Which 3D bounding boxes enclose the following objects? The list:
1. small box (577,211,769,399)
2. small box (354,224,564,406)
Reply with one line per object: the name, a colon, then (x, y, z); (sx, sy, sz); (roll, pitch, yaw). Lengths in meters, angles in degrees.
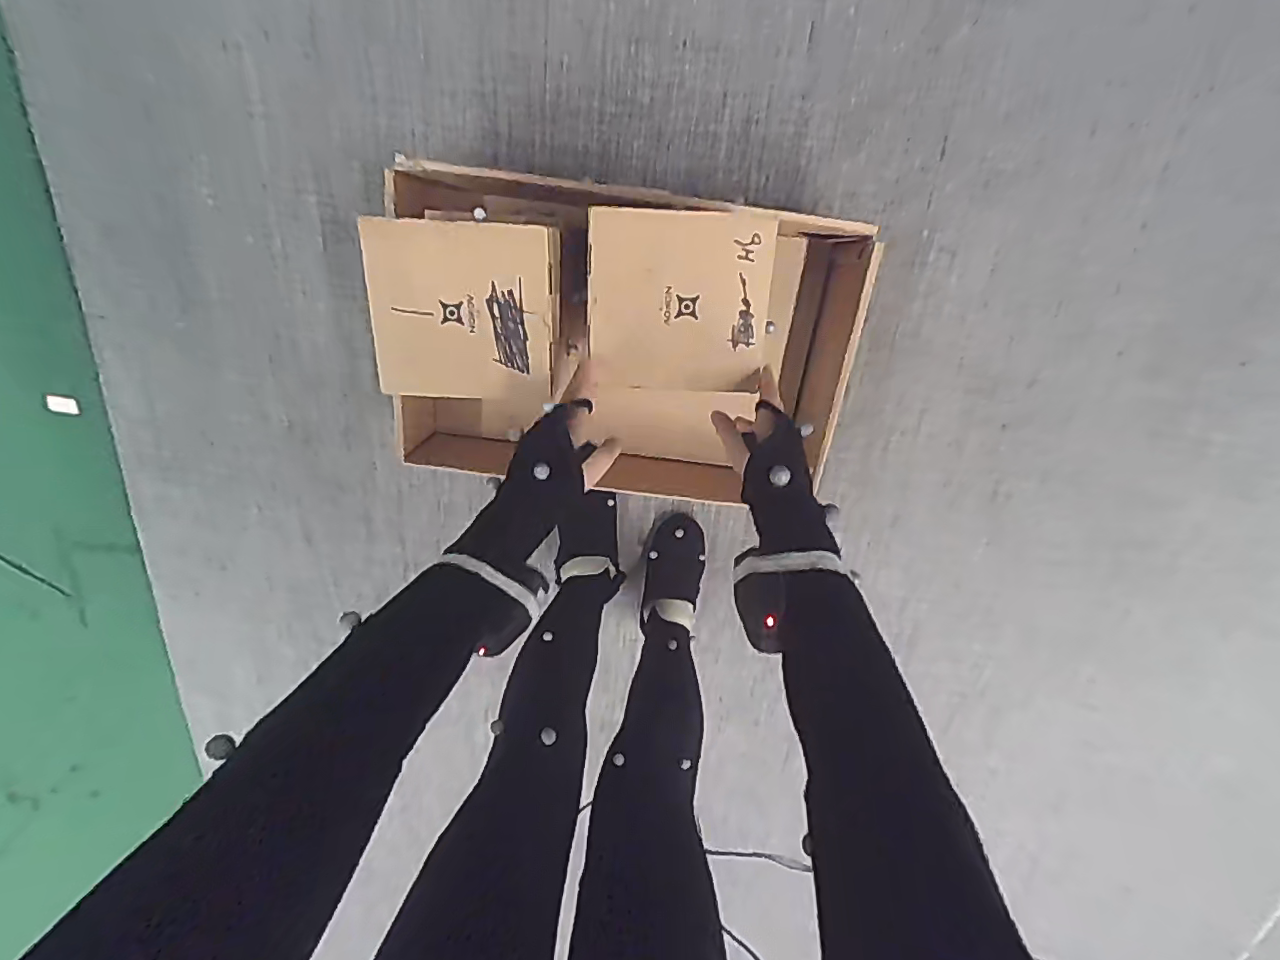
small box: (0.030, -0.191, 0.594); (0.179, 0.176, 0.168); (3, 111, 1)
small box: (-0.179, -0.185, 0.597); (0.179, 0.176, 0.168); (2, 112, -1)
